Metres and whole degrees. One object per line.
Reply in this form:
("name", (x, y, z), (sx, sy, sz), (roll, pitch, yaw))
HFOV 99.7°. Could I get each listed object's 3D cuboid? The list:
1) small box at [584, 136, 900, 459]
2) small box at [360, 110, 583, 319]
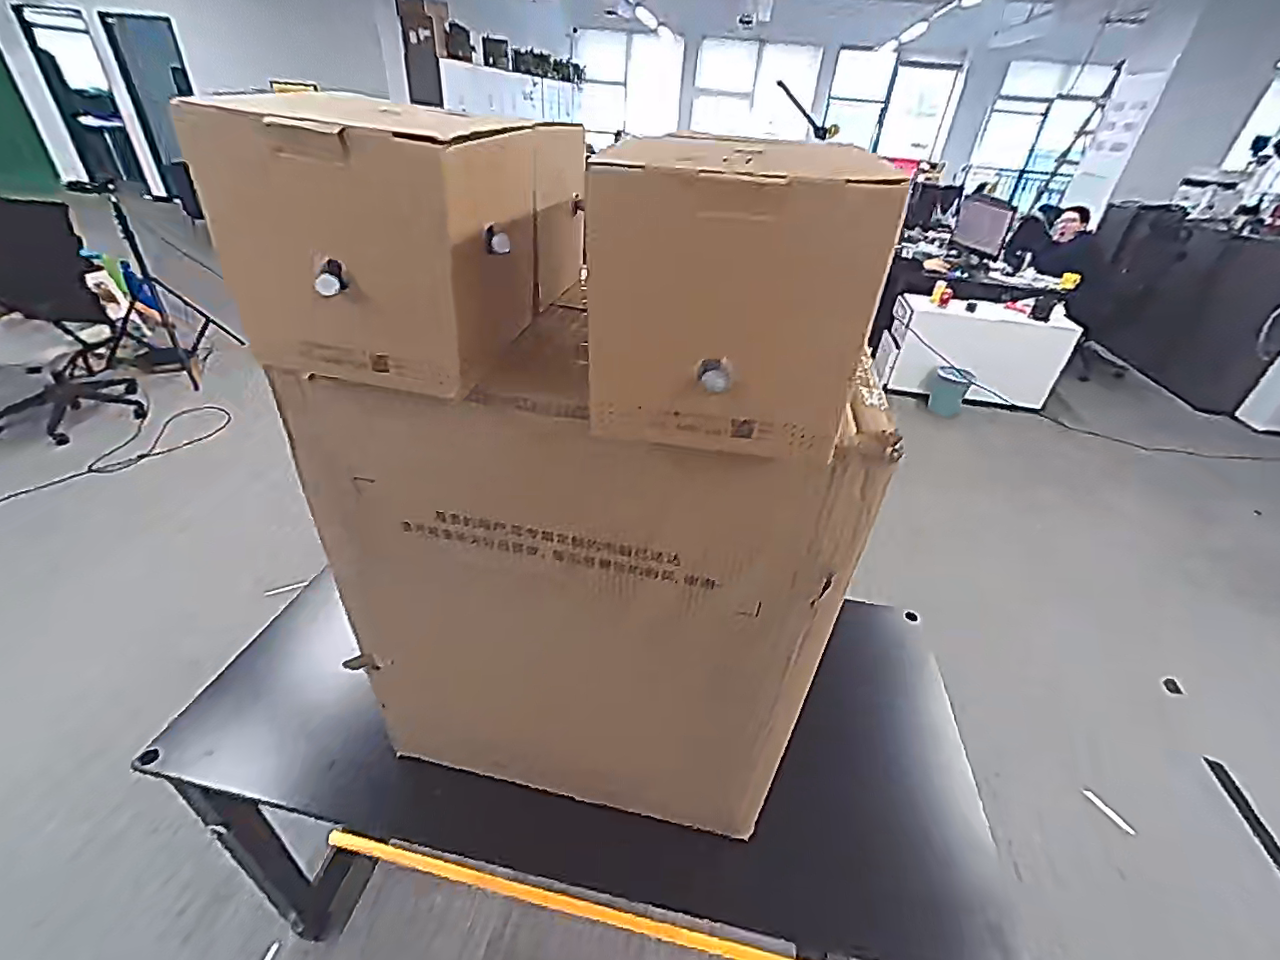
("small box", (0.061, -0.138, 0.388), (0.168, 0.176, 0.179), (7, 37, 8))
("small box", (-0.164, -0.288, 0.585), (0.168, 0.176, 0.179), (8, 34, 6))
